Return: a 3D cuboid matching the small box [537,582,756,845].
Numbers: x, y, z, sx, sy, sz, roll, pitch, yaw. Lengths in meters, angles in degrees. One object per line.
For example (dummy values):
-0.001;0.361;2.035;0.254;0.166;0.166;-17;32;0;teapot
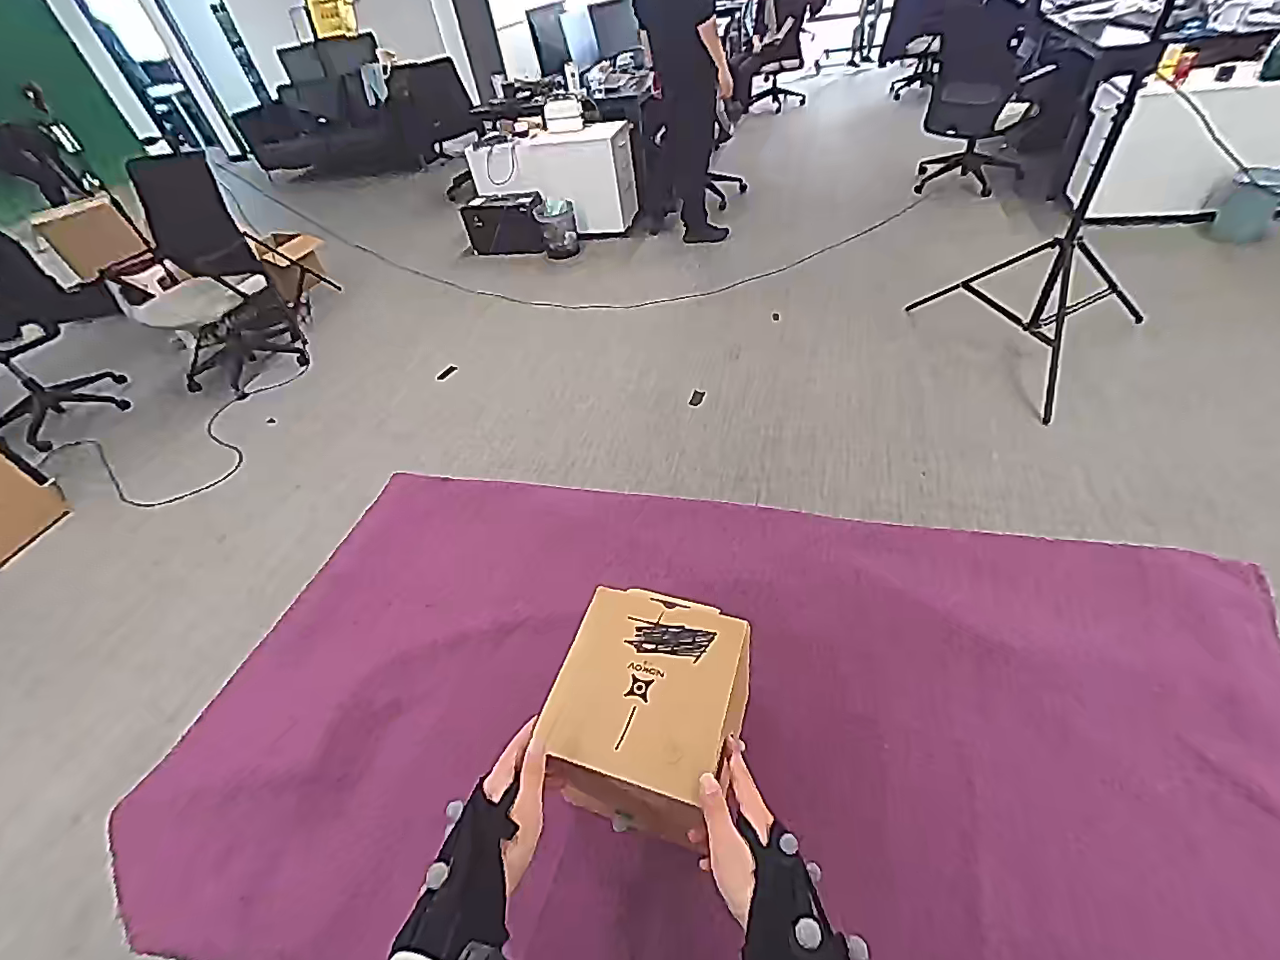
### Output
0.020;0.238;0.561;0.168;0.176;0.179;9;47;19;small box
